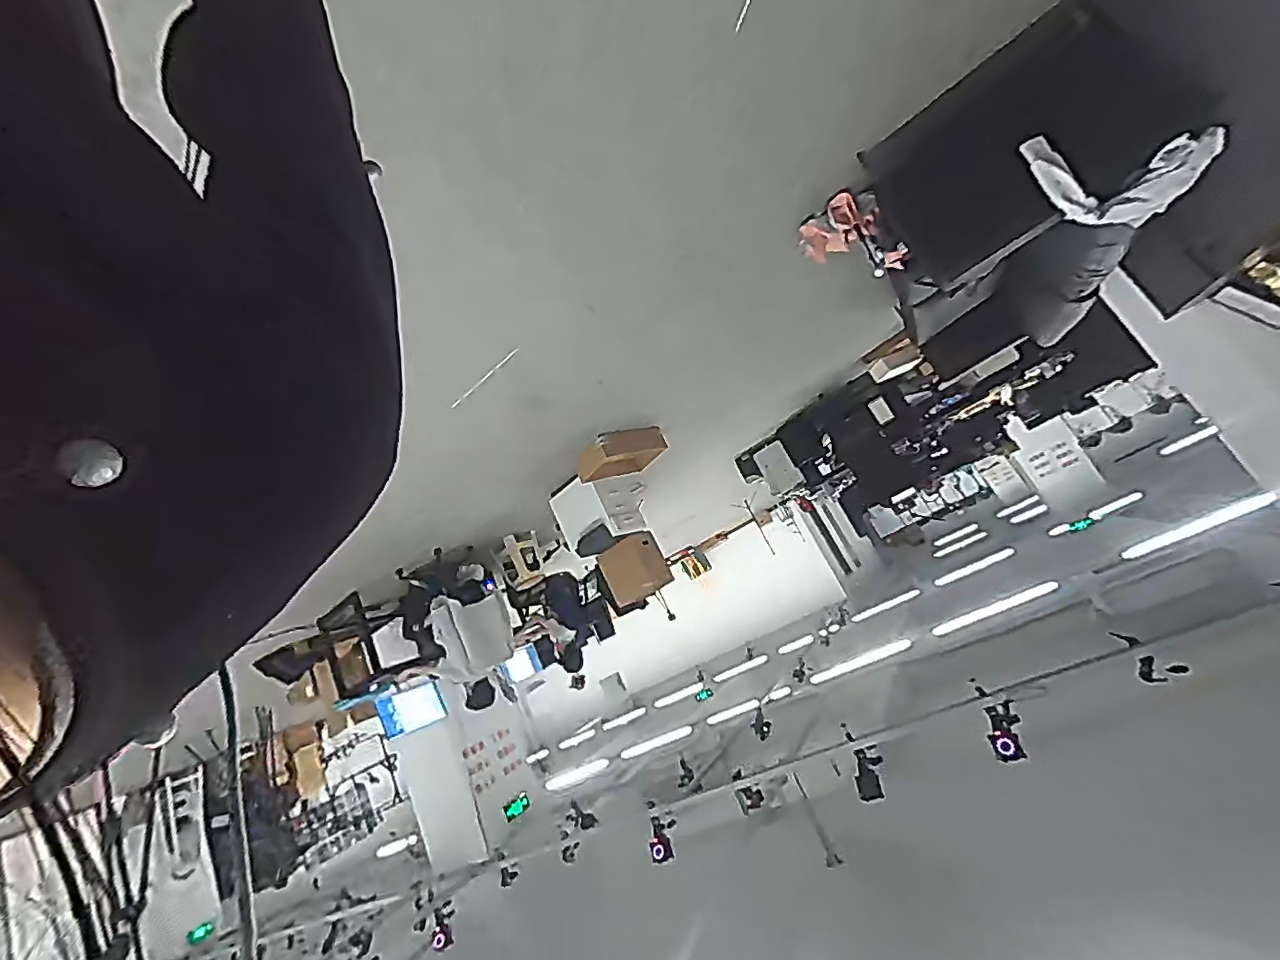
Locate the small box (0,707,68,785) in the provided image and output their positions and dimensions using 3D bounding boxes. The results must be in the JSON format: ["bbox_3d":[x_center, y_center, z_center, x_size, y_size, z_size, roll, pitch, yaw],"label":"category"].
[{"bbox_3d":[-1.885,0.802,1.616,0.168,0.176,0.179,-31,164,12],"label":"small box"}]
